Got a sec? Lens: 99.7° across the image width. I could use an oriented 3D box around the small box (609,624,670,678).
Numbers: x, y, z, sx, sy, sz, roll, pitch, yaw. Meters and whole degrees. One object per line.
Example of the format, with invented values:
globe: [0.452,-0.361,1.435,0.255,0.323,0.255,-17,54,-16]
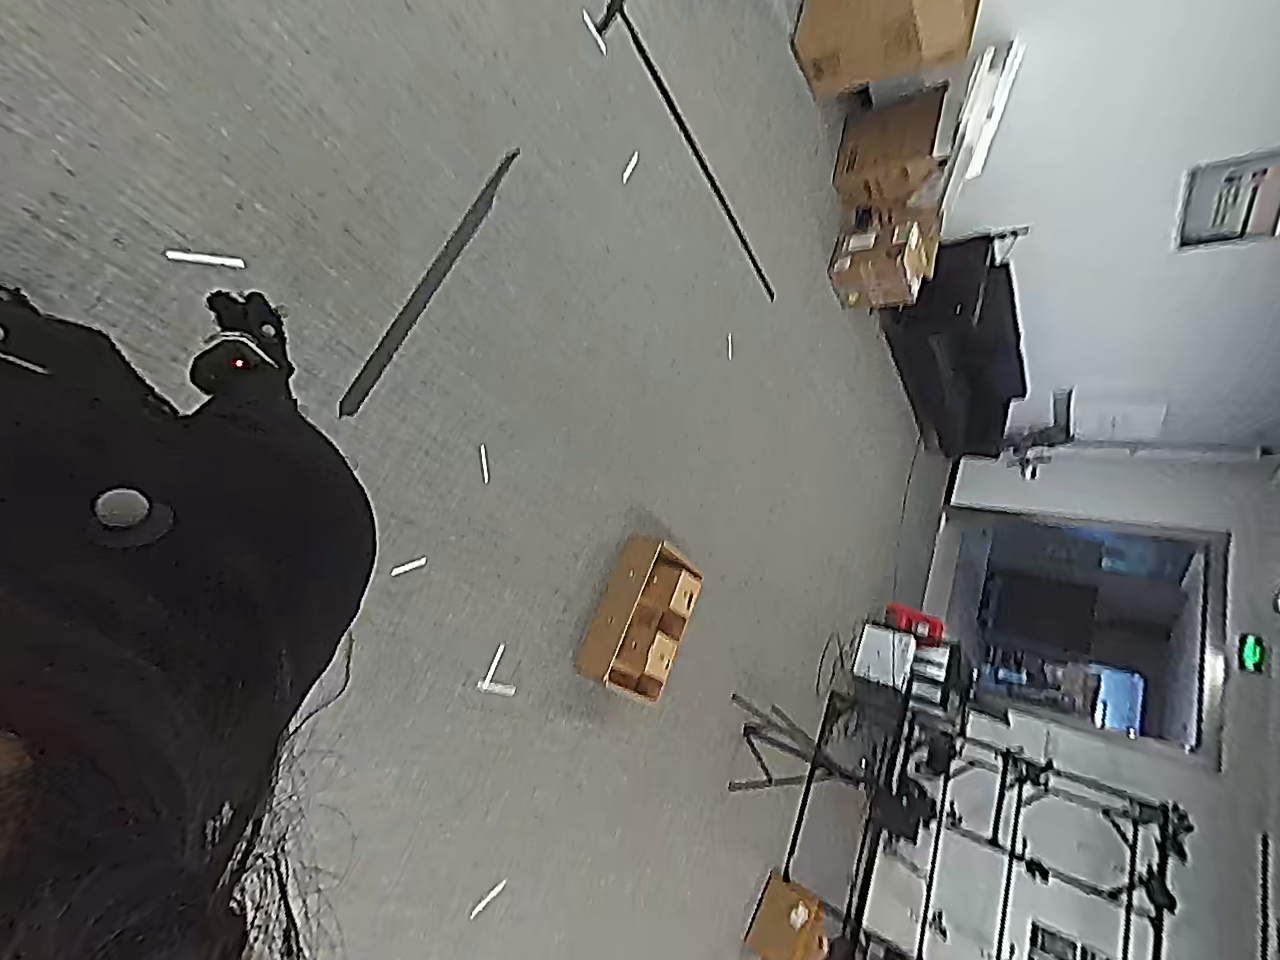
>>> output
small box: [-0.004,0.733,2.327,0.179,0.176,0.168,44,59,-42]
